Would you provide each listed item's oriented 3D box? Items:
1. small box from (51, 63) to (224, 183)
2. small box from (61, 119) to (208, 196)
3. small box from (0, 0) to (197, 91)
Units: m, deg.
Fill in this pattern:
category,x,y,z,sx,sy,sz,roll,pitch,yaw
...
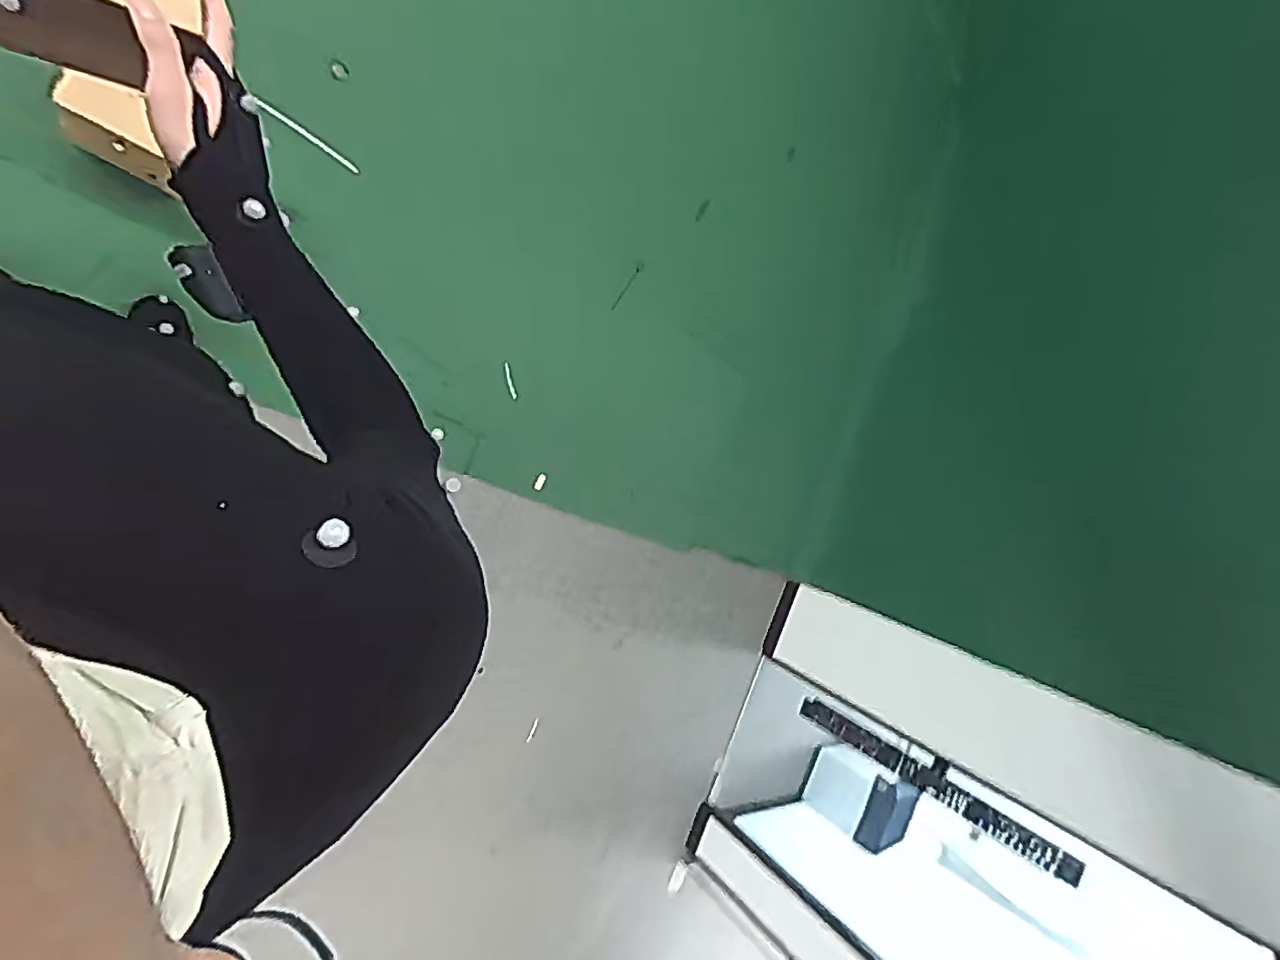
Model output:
category,x,y,z,sx,sy,sz,roll,pitch,yaw
small box,-0.867,-0.651,0.948,0.179,0.176,0.168,21,90,-41
small box,-0.975,-0.688,1.063,0.179,0.176,0.168,24,87,-42
small box,-0.436,-0.414,0.378,0.179,0.176,0.168,-6,105,-45
